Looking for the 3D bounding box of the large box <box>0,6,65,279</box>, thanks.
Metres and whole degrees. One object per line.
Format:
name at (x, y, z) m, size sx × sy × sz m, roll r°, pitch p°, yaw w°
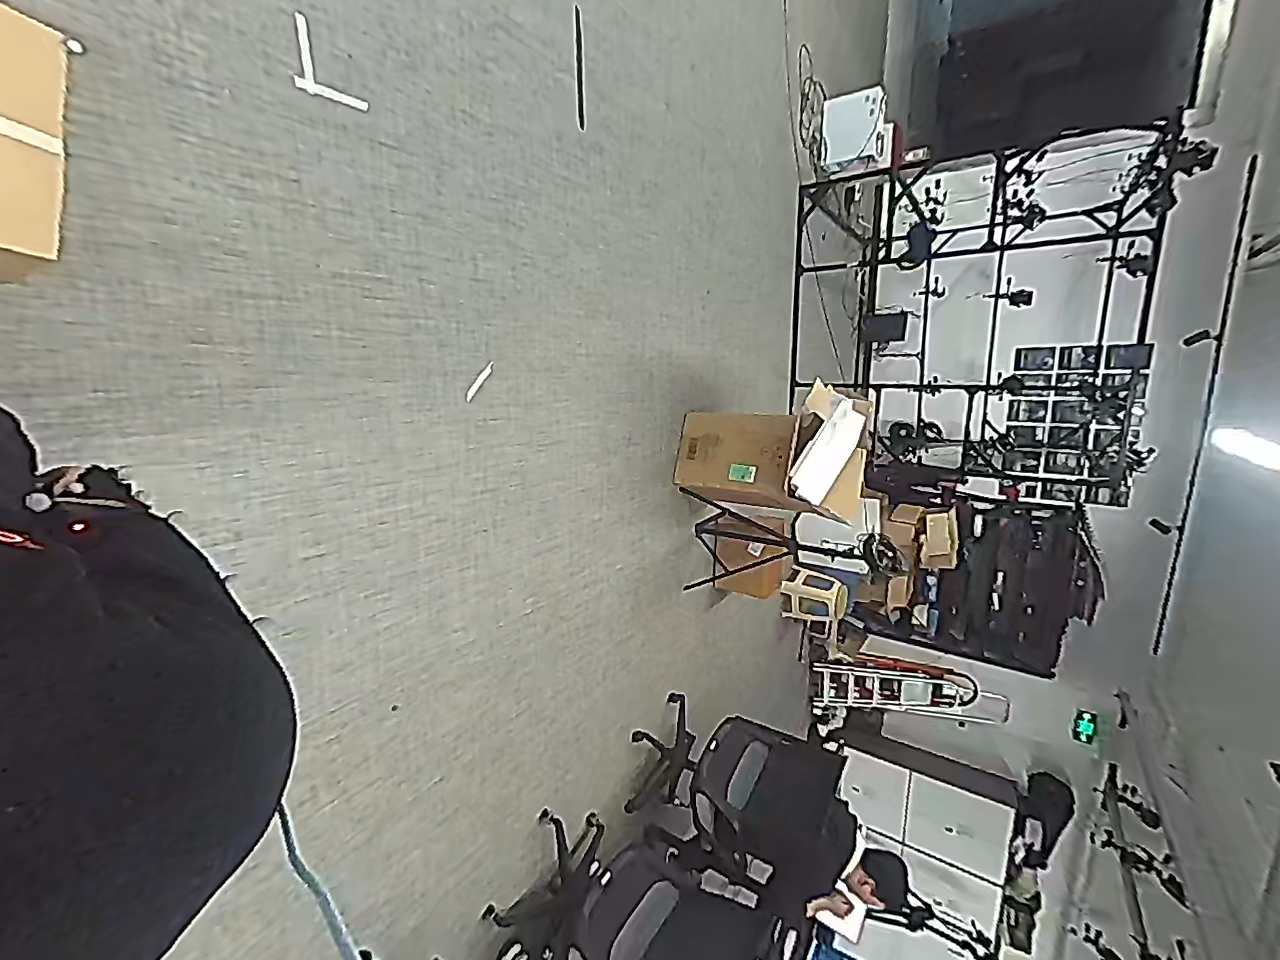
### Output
large box at (-1.044, -0.478, 0.668) m, size 0.408 × 0.320 × 0.320 m, roll 2°, pitch 95°, yaw -58°
